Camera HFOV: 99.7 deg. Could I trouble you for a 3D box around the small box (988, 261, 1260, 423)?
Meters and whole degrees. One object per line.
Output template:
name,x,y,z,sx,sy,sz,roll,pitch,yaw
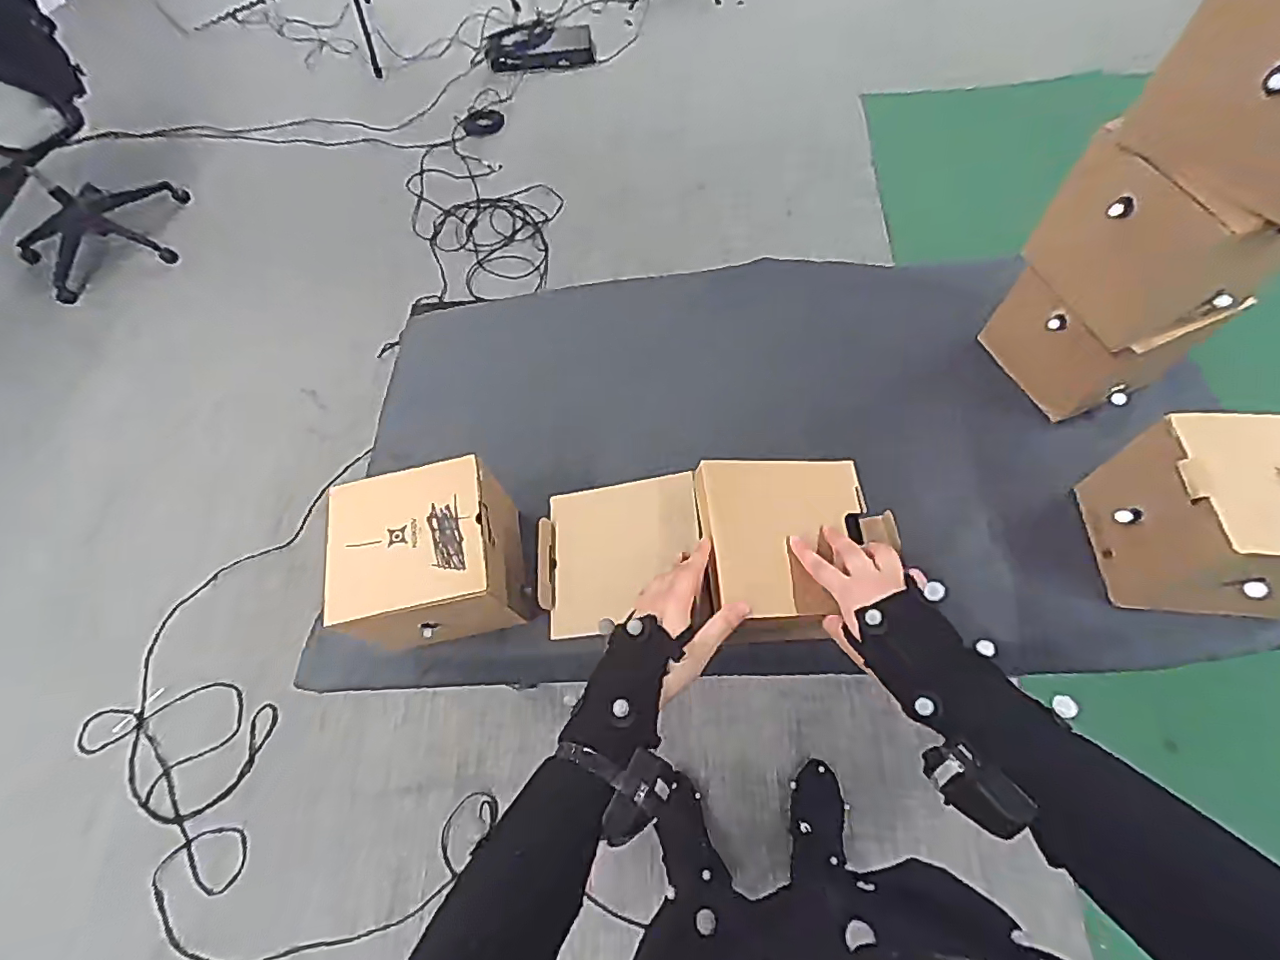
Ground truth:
small box,0.620,-0.209,0.727,0.168,0.176,0.179,-23,66,-3

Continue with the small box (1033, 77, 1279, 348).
small box,0.580,-0.277,0.581,0.168,0.176,0.179,-20,64,0

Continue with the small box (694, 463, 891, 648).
small box,0.159,0.096,0.624,0.179,0.176,0.168,-6,66,4

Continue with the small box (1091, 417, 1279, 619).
small box,0.647,0.047,0.595,0.179,0.176,0.168,2,60,8

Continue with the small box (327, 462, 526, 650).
small box,-0.246,0.101,0.661,0.179,0.176,0.168,-13,64,0
